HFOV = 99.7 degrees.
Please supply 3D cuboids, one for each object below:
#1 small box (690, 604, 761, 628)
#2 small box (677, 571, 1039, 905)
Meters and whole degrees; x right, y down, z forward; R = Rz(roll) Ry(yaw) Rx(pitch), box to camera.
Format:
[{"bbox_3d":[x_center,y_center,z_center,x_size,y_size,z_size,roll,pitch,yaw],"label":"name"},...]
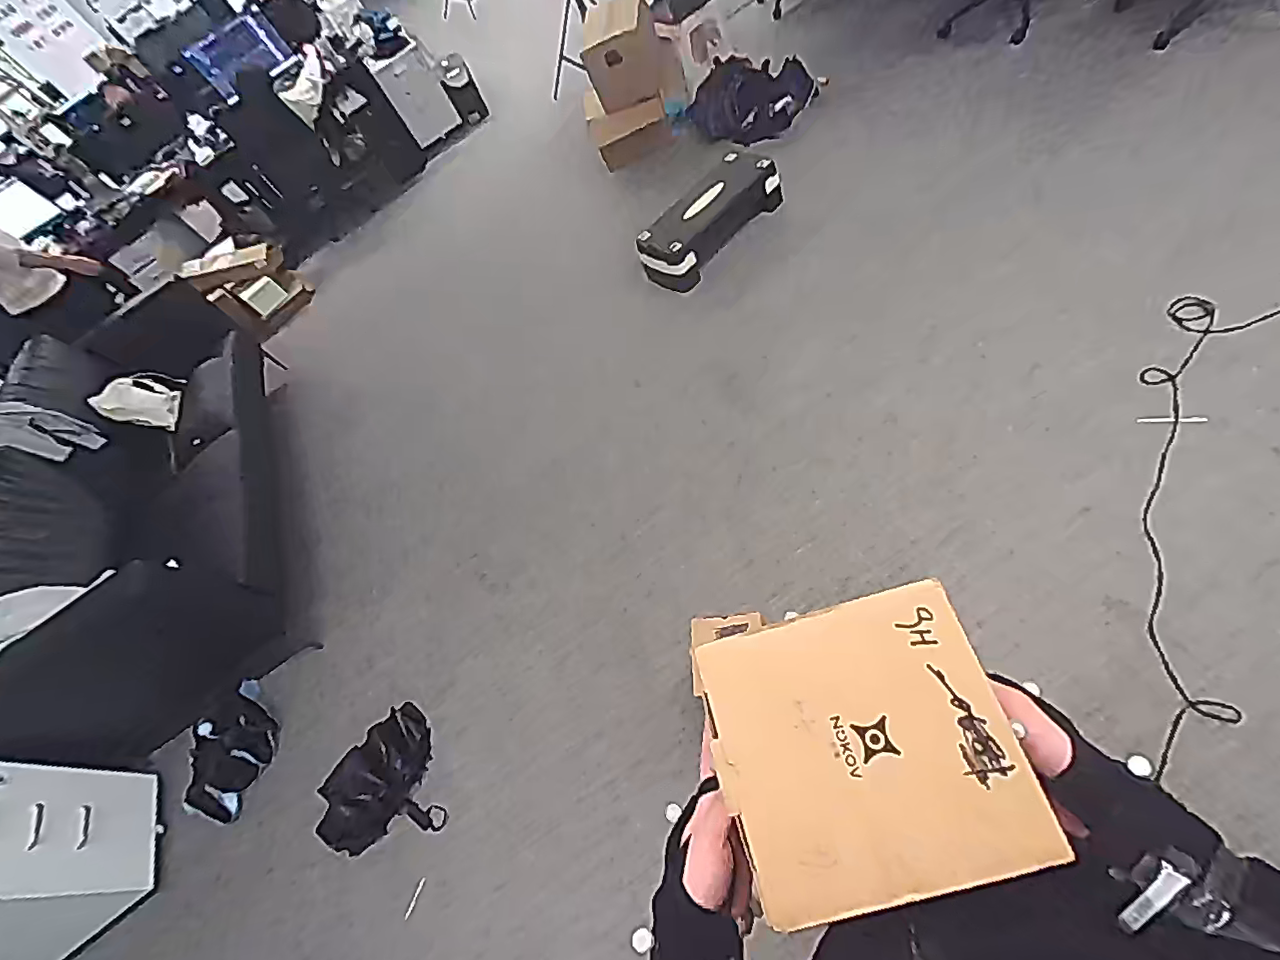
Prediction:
[{"bbox_3d":[0.220,0.408,1.281,0.168,0.176,0.179,-10,59,19],"label":"small box"},{"bbox_3d":[0.142,0.185,0.413,0.179,0.176,0.168,-17,67,6],"label":"small box"}]
